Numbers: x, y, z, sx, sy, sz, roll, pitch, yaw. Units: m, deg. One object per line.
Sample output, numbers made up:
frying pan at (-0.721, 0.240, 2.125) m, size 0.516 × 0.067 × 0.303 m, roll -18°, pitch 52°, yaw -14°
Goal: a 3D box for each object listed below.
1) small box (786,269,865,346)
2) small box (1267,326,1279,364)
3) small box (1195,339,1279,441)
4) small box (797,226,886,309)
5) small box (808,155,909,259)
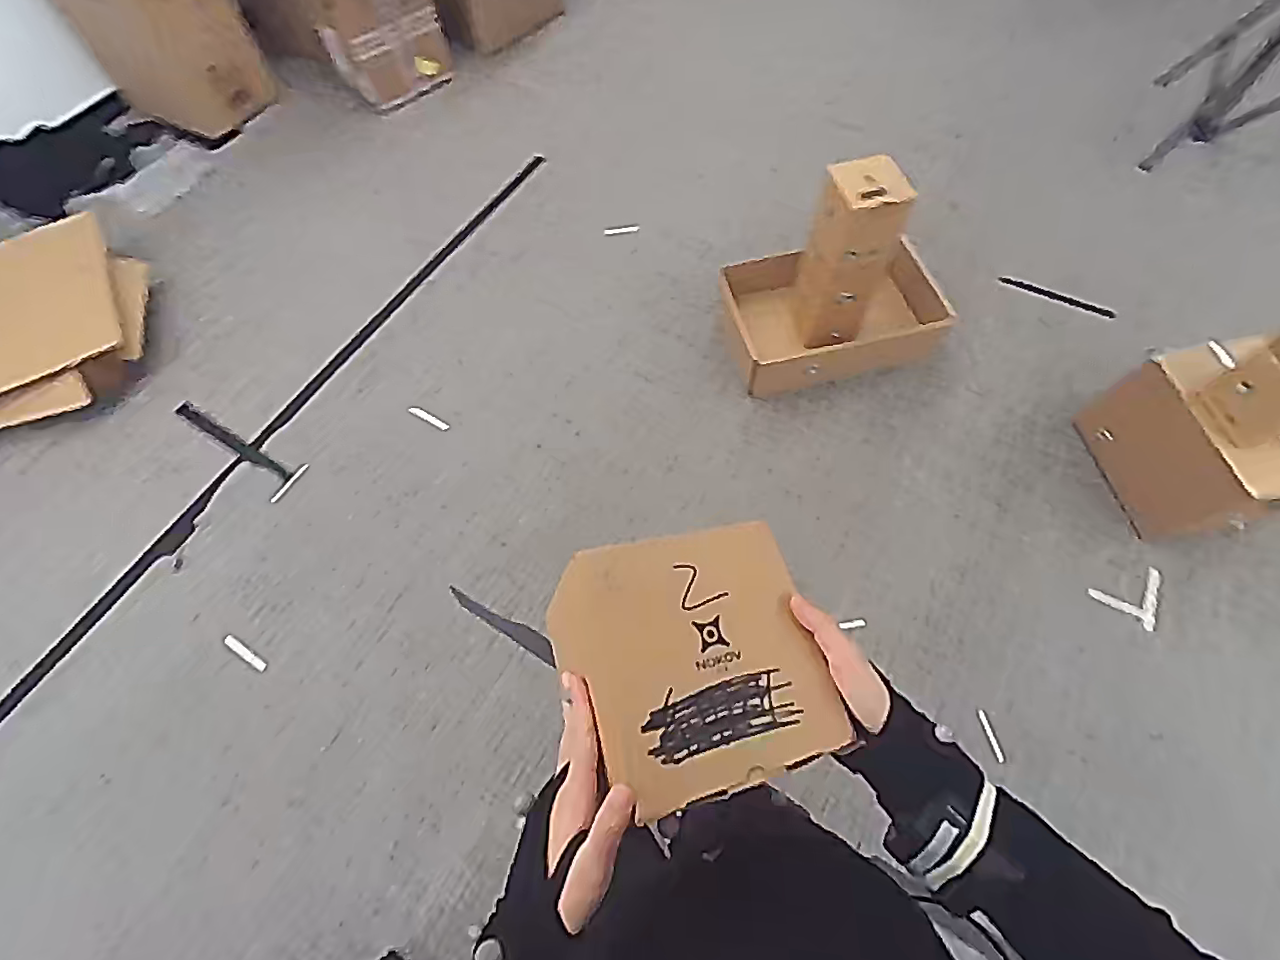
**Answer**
small box at (0.572, -0.549, 1.692) m, size 0.168 × 0.176 × 0.179 m, roll -11°, pitch 64°, yaw -2°
small box at (1.412, -0.276, 1.054) m, size 0.179 × 0.176 × 0.168 m, roll -9°, pitch 65°, yaw -1°
small box at (1.410, -0.201, 1.201) m, size 0.179 × 0.176 × 0.168 m, roll -9°, pitch 65°, yaw -2°
small box at (0.566, -0.621, 1.547) m, size 0.168 × 0.176 × 0.179 m, roll -12°, pitch 65°, yaw -2°
small box at (0.556, -0.697, 1.401) m, size 0.168 × 0.176 × 0.179 m, roll -13°, pitch 63°, yaw -3°
